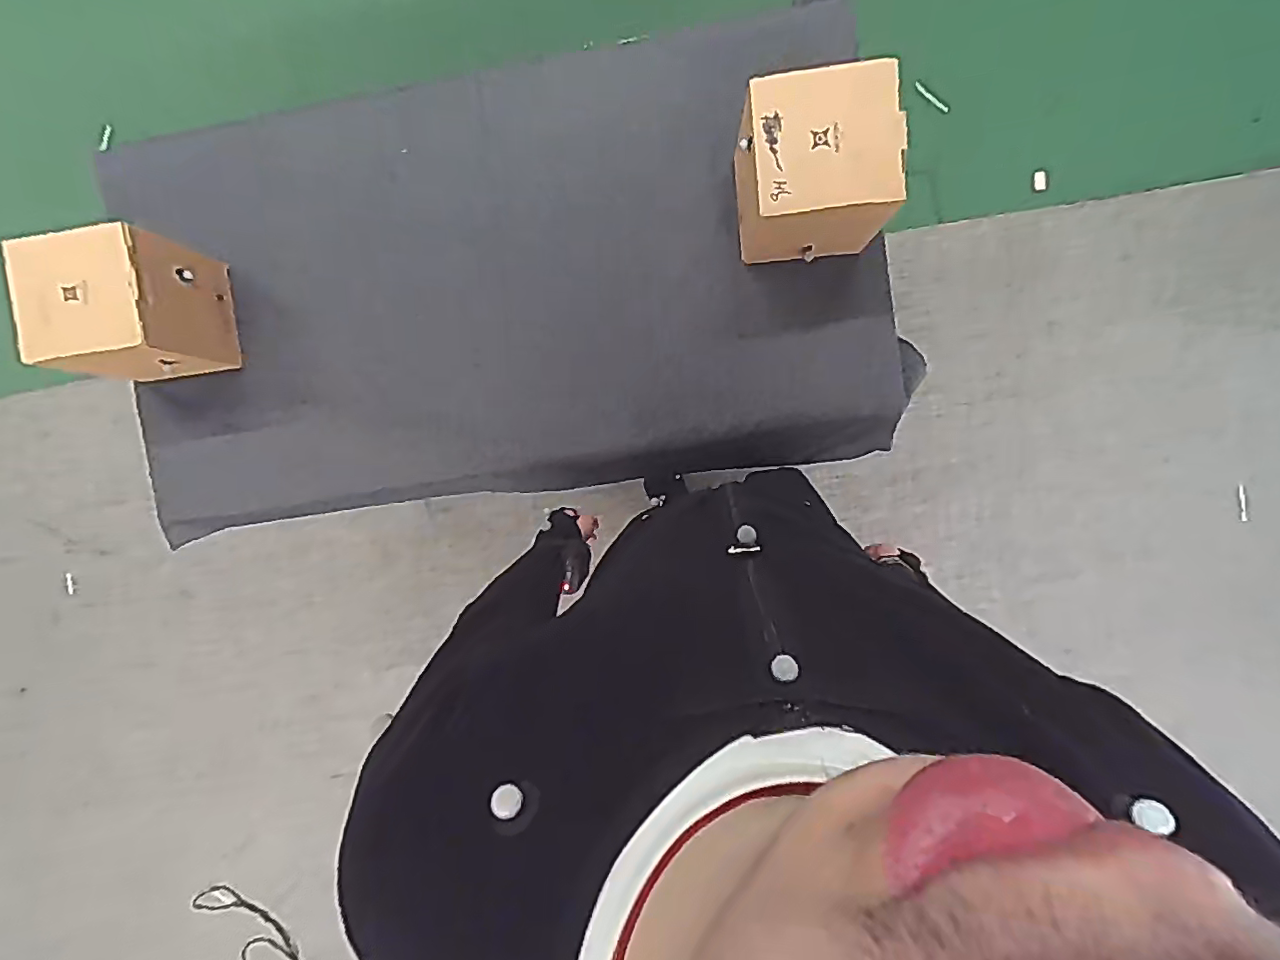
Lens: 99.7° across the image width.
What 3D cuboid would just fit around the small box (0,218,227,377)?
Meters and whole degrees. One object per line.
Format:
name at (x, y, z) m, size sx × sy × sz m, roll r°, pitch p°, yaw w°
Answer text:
small box at (-0.736, -0.251, 0.779) m, size 0.179 × 0.176 × 0.168 m, roll -5°, pitch 90°, yaw 3°

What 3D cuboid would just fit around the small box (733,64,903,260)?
small box at (0.229, -0.413, 0.731) m, size 0.179 × 0.176 × 0.168 m, roll -5°, pitch 93°, yaw 3°
